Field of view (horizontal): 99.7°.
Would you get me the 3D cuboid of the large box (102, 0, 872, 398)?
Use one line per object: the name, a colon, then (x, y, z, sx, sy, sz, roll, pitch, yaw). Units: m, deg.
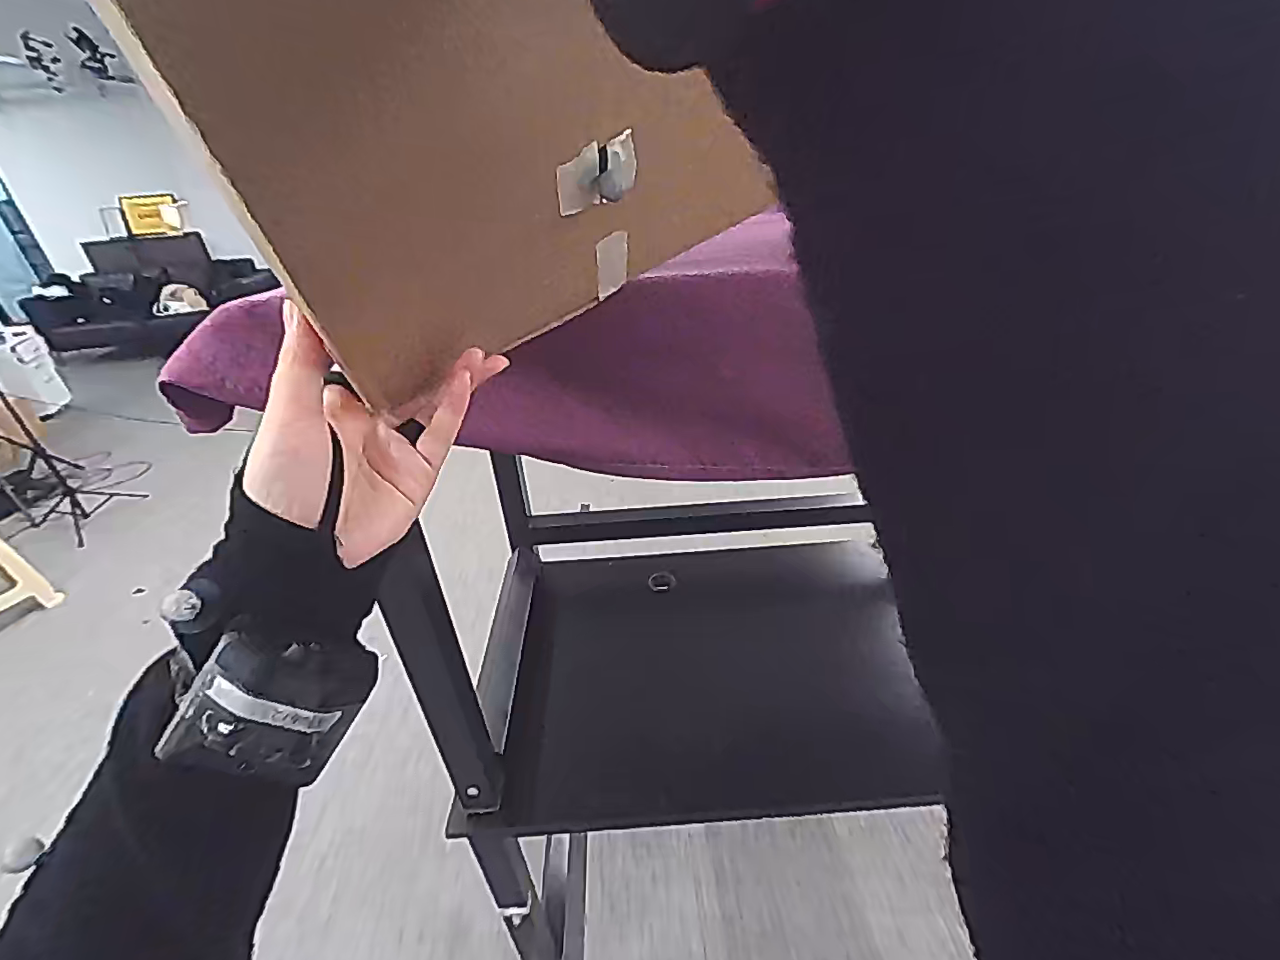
large box: (-0.114, -0.321, 0.243, 0.320, 0.320, 0.408, -34, 75, -20)
